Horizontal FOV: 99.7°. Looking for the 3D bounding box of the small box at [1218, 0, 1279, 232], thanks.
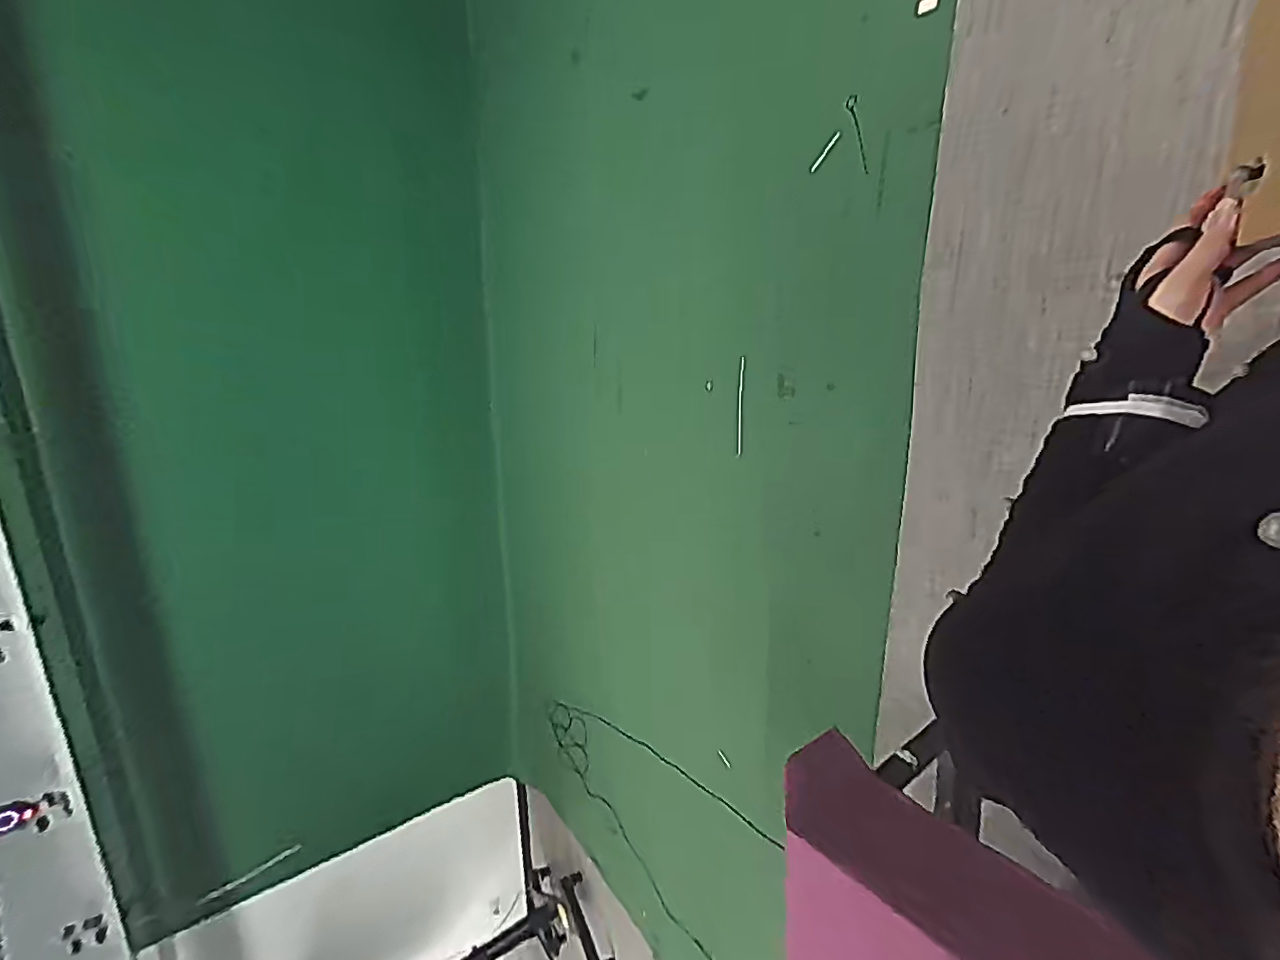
[{"bbox_3d":[0.465,-0.245,0.299,0.168,0.176,0.179,5,108,35],"label":"small box"}]
